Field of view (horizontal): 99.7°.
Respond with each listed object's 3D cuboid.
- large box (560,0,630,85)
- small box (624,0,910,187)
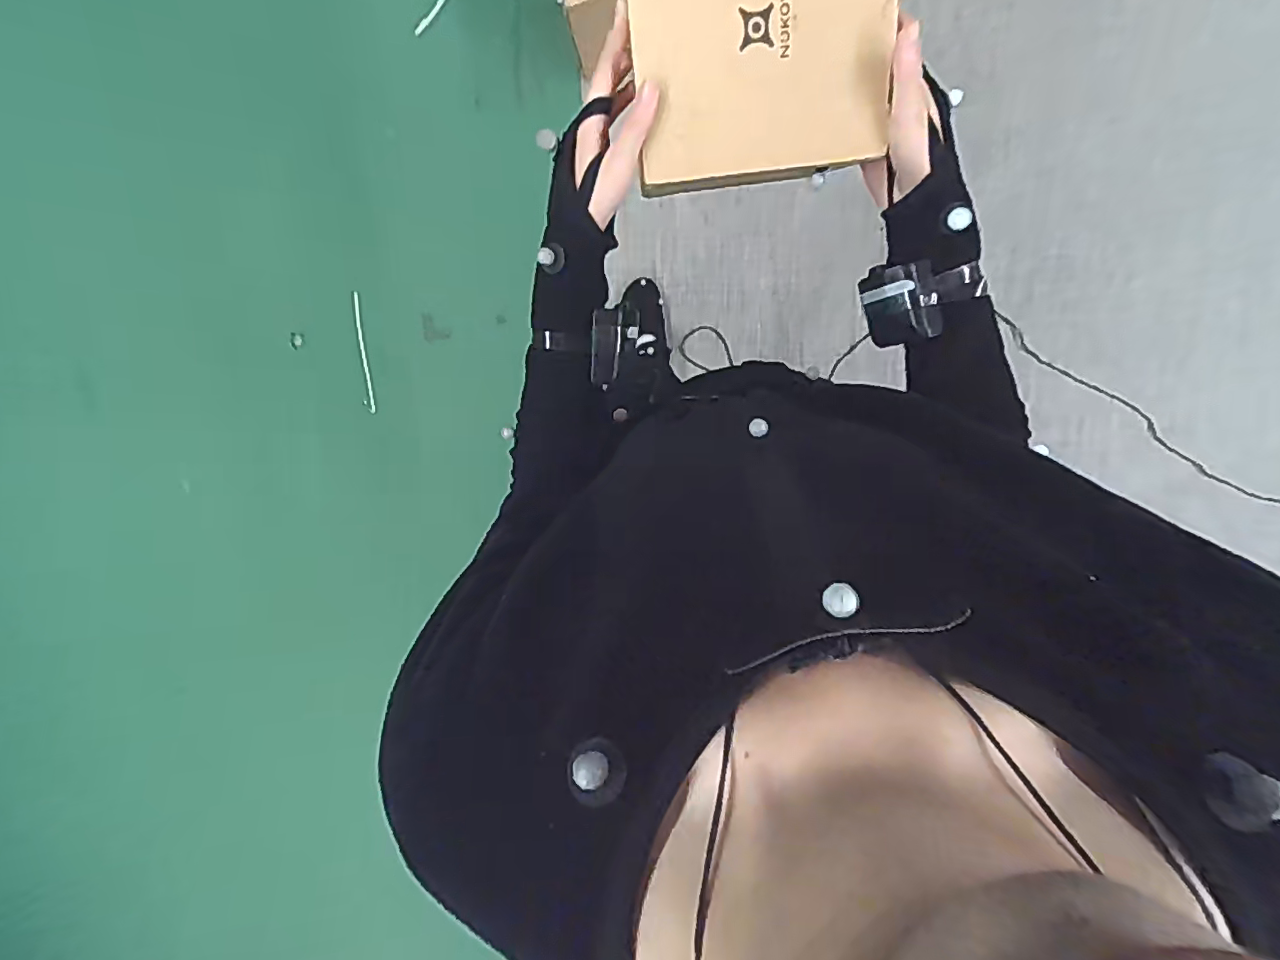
[{"bbox_3d":[0.012,-1.099,1.092,0.408,0.320,0.320,-16,102,7],"label":"large box"},{"bbox_3d":[0.080,-0.331,0.413,0.179,0.176,0.168,-7,114,0],"label":"small box"}]
